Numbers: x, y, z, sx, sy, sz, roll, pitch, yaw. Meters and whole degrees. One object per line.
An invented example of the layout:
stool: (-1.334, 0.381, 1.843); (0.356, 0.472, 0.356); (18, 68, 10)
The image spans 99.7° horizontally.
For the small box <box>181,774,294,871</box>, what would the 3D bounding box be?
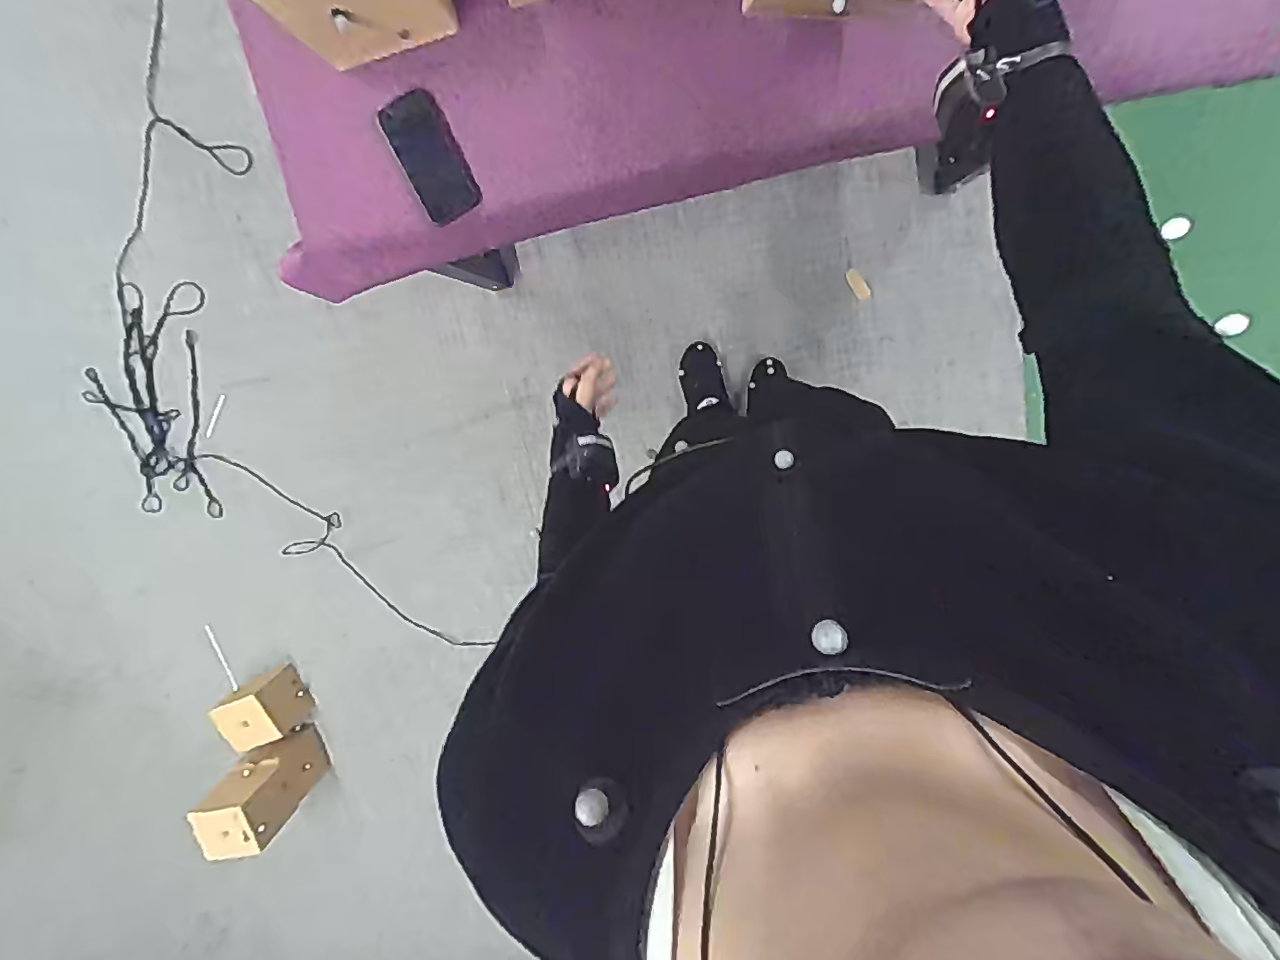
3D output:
small box: (-1.163, 0.991, 1.573); (0.179, 0.176, 0.168); (-10, 102, 7)

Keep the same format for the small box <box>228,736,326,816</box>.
small box: (-1.154, 0.948, 1.731); (0.168, 0.176, 0.179); (-12, 103, 7)

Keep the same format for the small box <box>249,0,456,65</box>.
small box: (-0.322, -0.589, 0.579); (0.168, 0.176, 0.179); (-12, 101, 7)

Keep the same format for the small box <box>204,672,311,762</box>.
small box: (-1.183, 0.734, 1.685); (0.179, 0.176, 0.168); (-22, 102, 8)

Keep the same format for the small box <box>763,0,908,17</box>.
small box: (0.198, -0.541, 0.470); (0.168, 0.176, 0.179); (0, 115, -5)
